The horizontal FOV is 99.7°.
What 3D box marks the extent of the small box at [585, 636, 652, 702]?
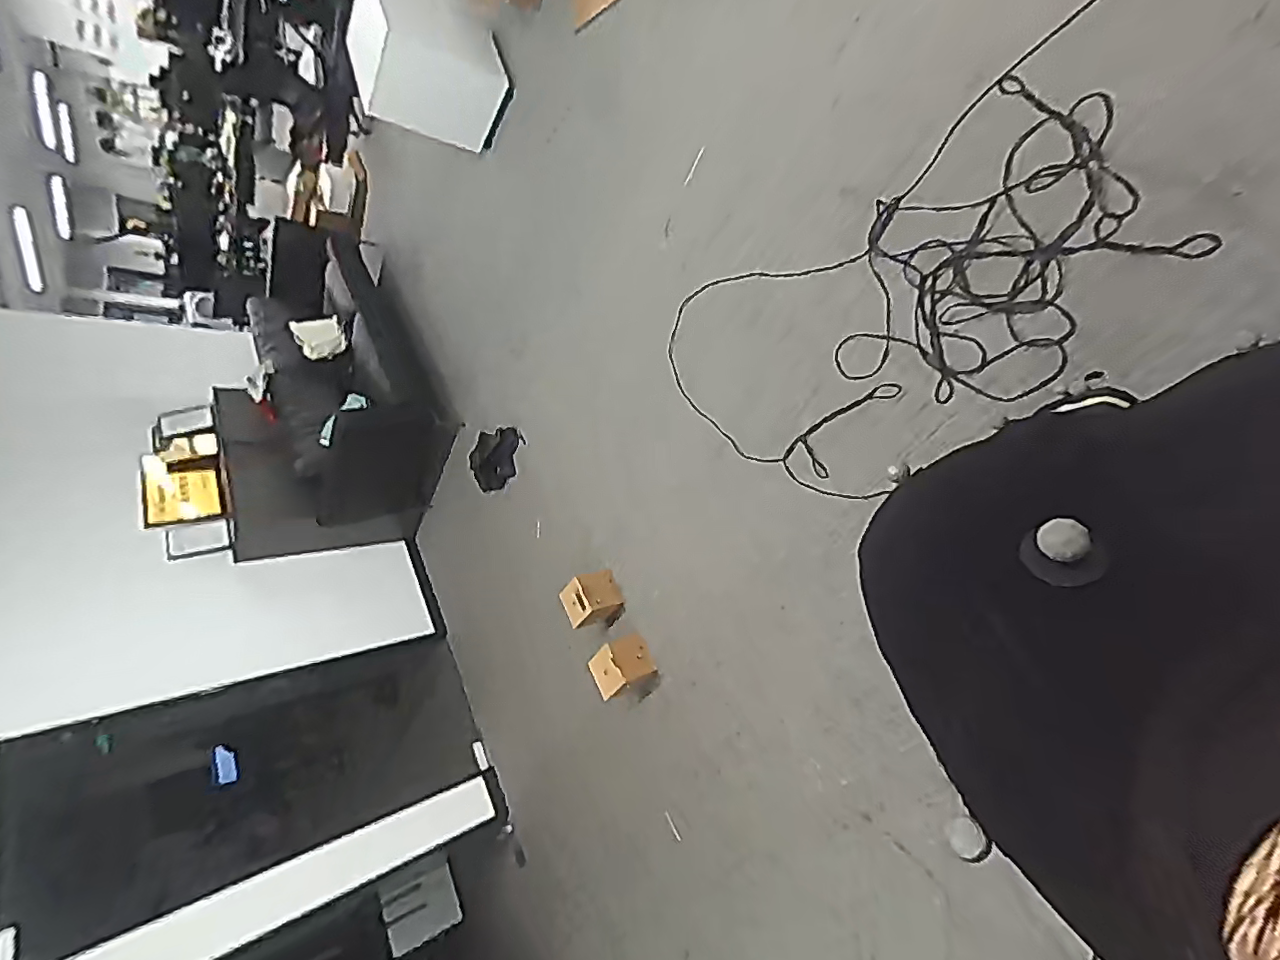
[{"bbox_3d":[-0.081,0.738,2.119,0.168,0.176,0.179,57,131,29],"label":"small box"}]
